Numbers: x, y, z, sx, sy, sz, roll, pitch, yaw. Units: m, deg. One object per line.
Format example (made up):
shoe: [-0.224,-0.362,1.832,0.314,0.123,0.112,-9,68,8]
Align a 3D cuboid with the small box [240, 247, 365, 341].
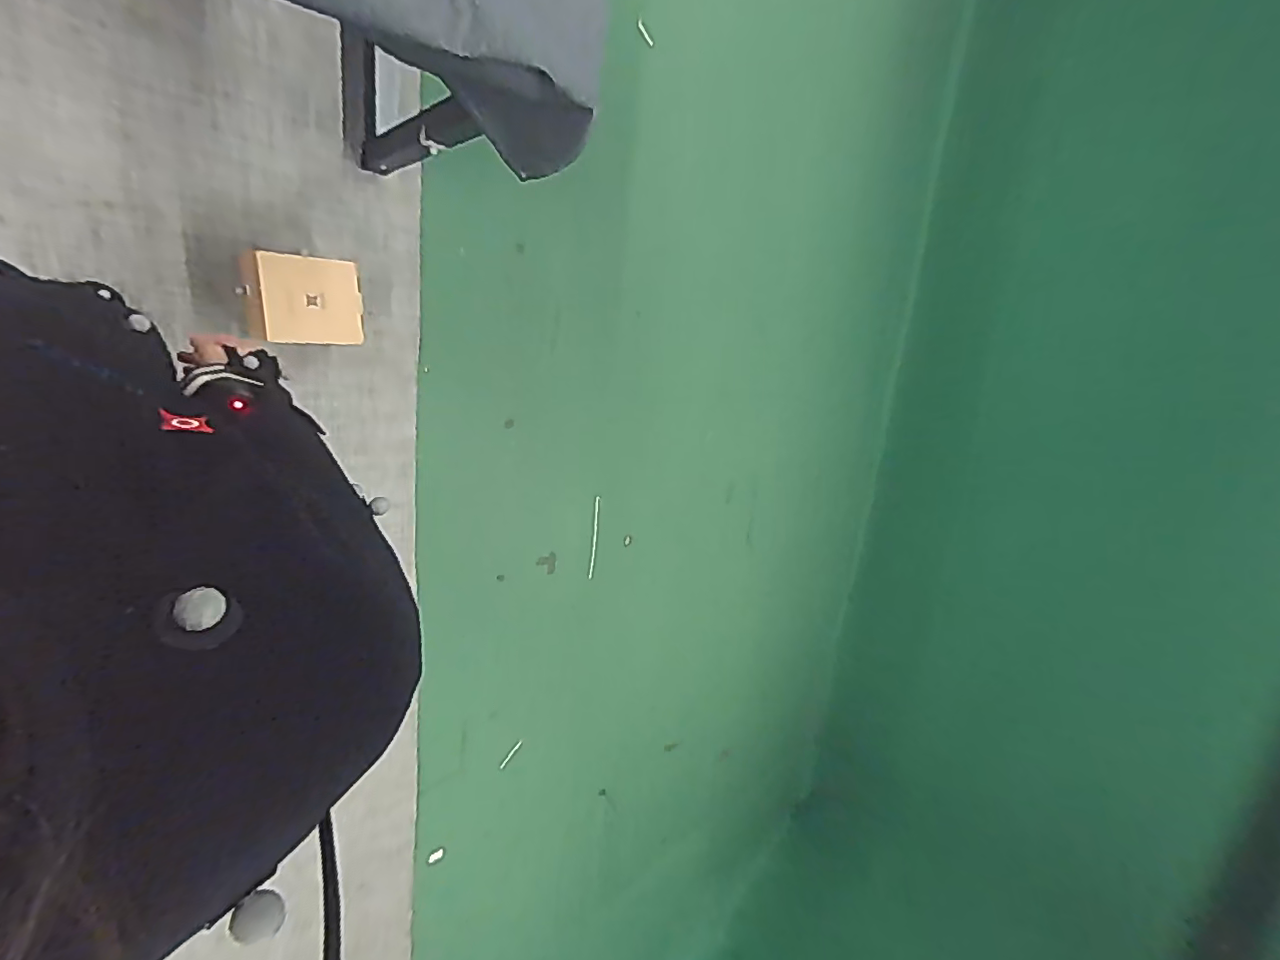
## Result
small box: [-0.692,-0.376,1.111,0.179,0.176,0.168,-13,111,-43]
